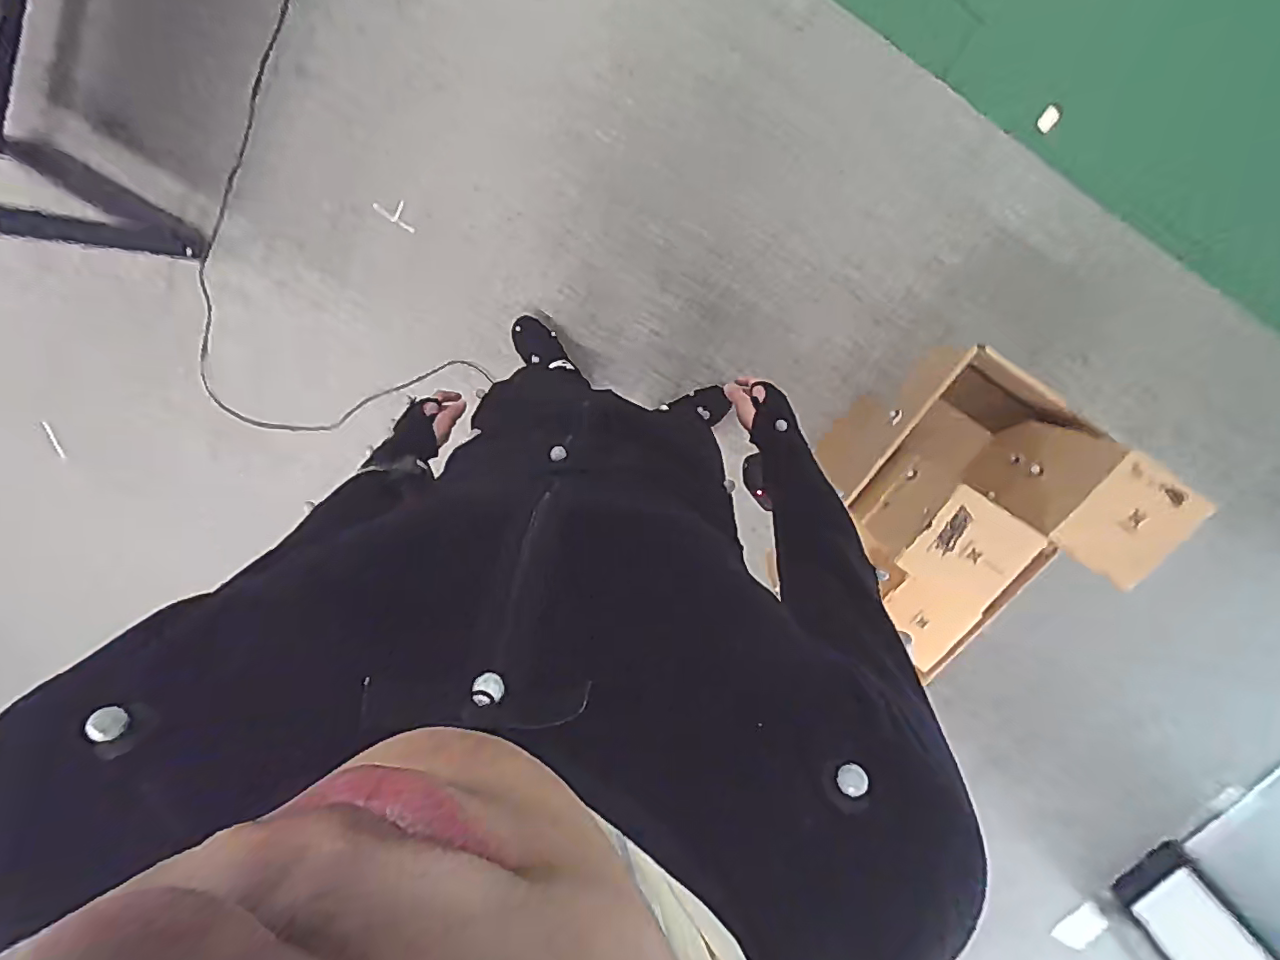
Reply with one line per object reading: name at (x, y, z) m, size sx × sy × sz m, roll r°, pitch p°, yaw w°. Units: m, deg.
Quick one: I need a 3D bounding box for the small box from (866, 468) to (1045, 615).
small box at (0.532, 0.095, 0.944) m, size 0.179 × 0.176 × 0.168 m, roll 32°, pitch 106°, yaw -5°

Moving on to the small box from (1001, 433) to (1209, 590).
small box at (0.758, 0.045, 0.913) m, size 0.168 × 0.176 × 0.179 m, roll 33°, pitch 107°, yaw -5°
